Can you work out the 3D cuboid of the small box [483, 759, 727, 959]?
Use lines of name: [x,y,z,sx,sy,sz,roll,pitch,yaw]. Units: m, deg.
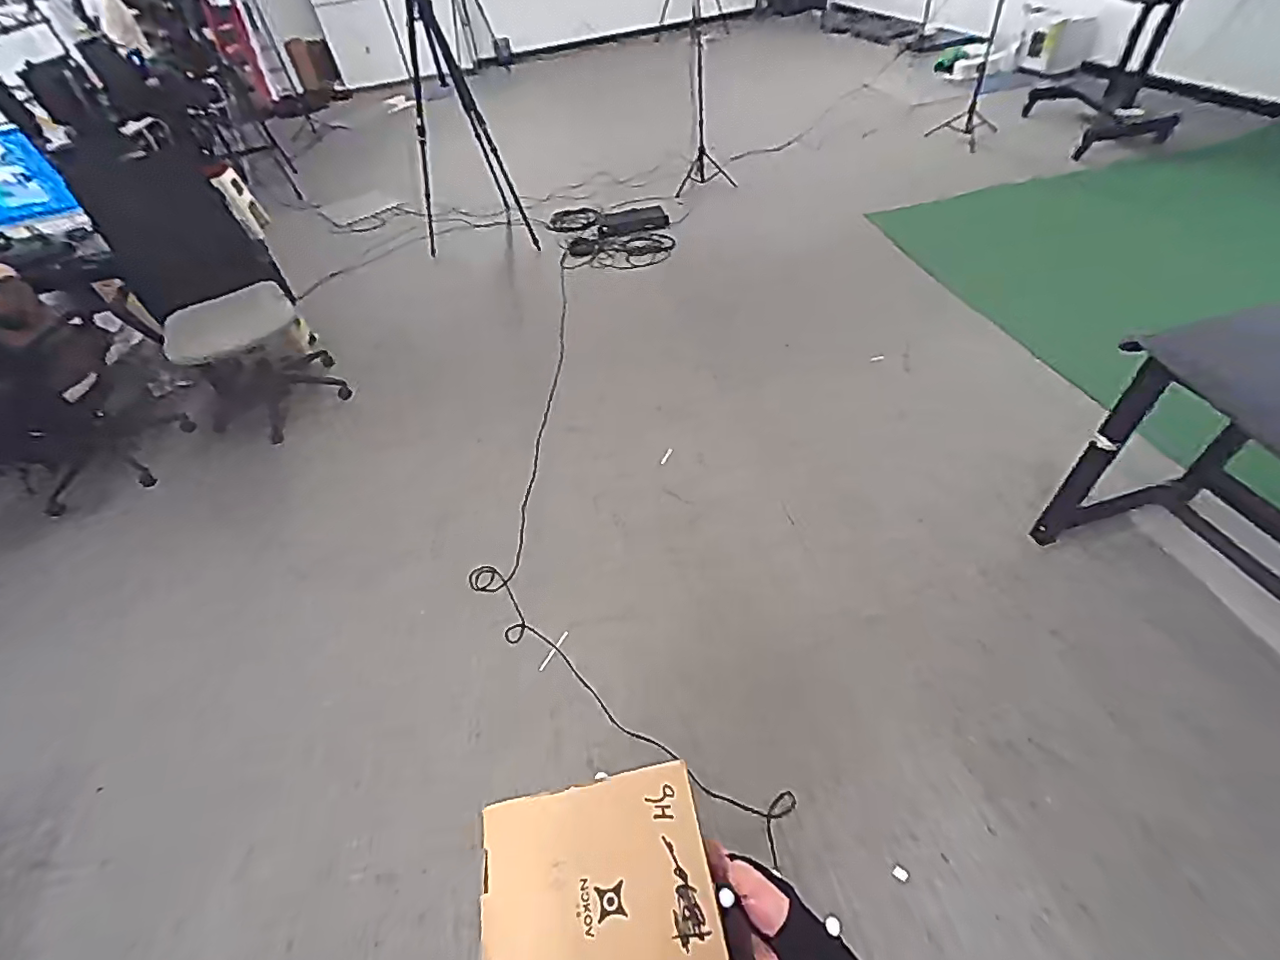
small box: [-0.024,0.362,0.478,0.179,0.176,0.168,-12,57,-1]
